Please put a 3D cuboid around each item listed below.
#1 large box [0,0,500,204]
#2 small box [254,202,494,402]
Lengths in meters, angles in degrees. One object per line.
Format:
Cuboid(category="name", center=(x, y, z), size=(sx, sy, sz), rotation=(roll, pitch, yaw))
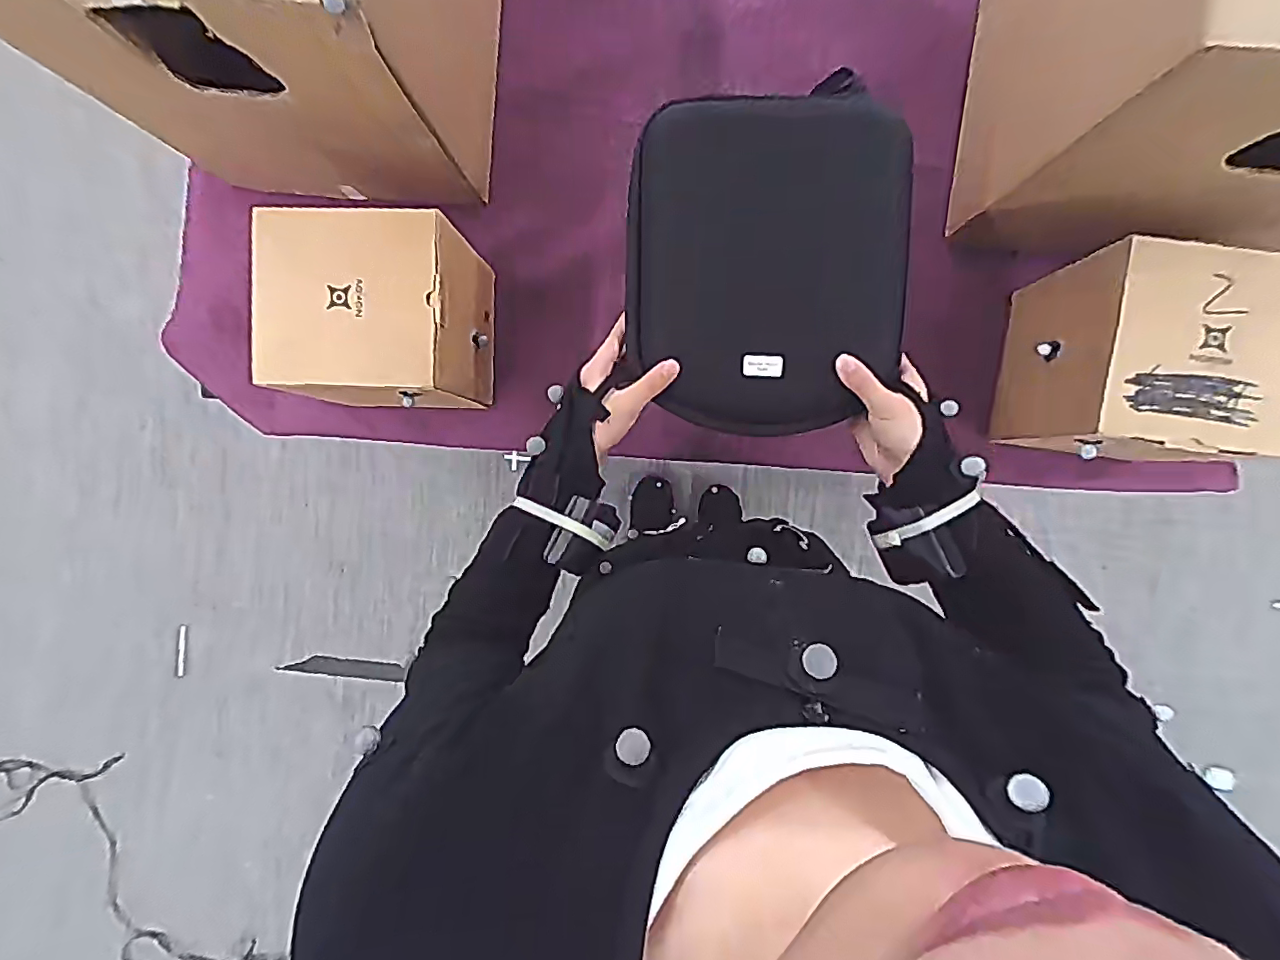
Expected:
Cuboid(category="large box", center=(-0.317, -0.529, 0.494), size=(0.320, 0.320, 0.408), rotation=(4, 95, 1))
Cuboid(category="small box", center=(-0.269, -0.175, 0.579), size=(0.179, 0.176, 0.168), rotation=(0, 92, 1))
